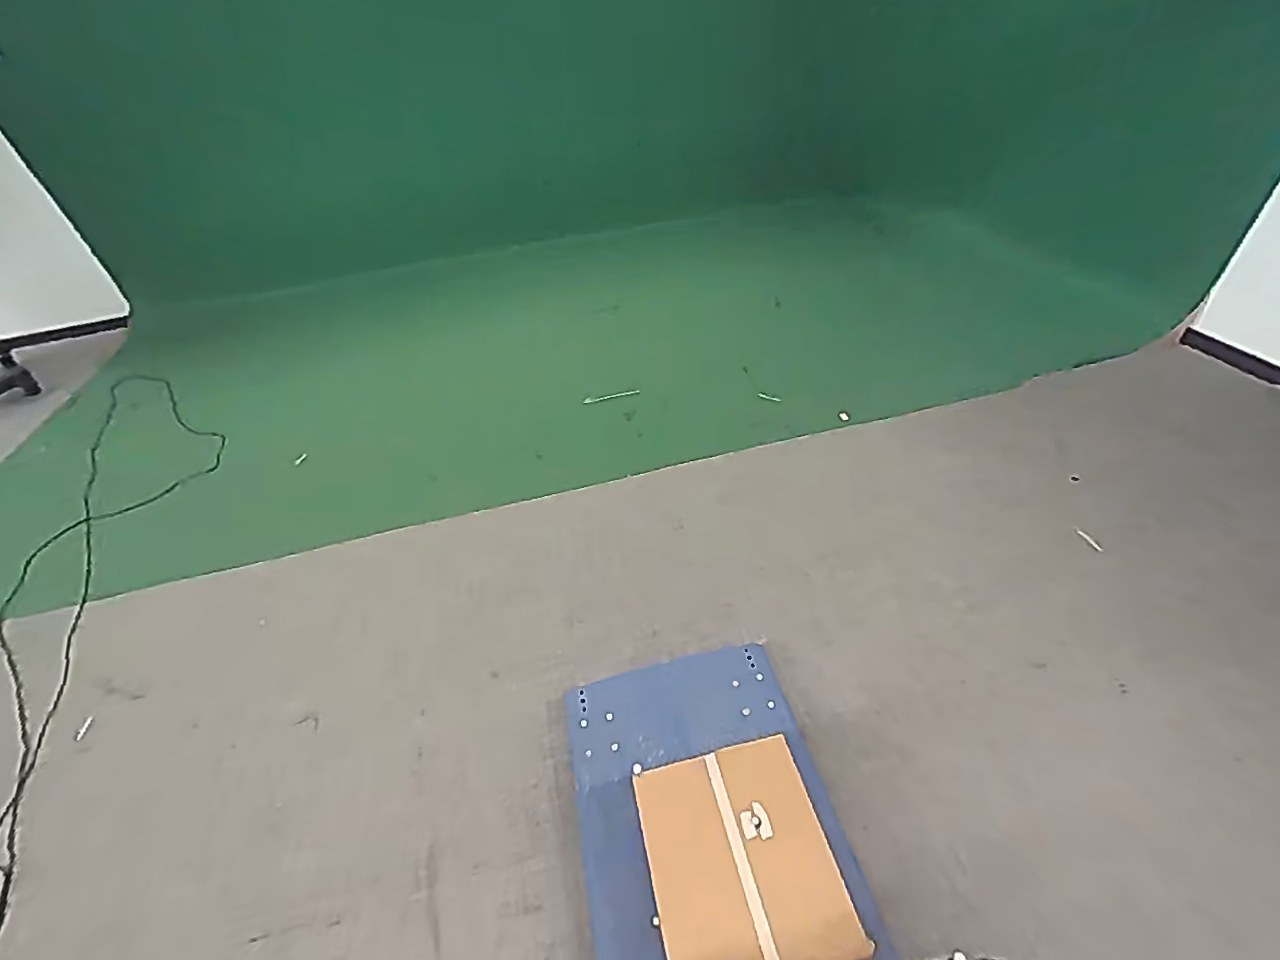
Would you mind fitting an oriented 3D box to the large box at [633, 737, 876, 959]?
[{"bbox_3d":[0.194,0.784,1.020,0.320,0.320,0.408,-12,41,-6],"label":"large box"}]
